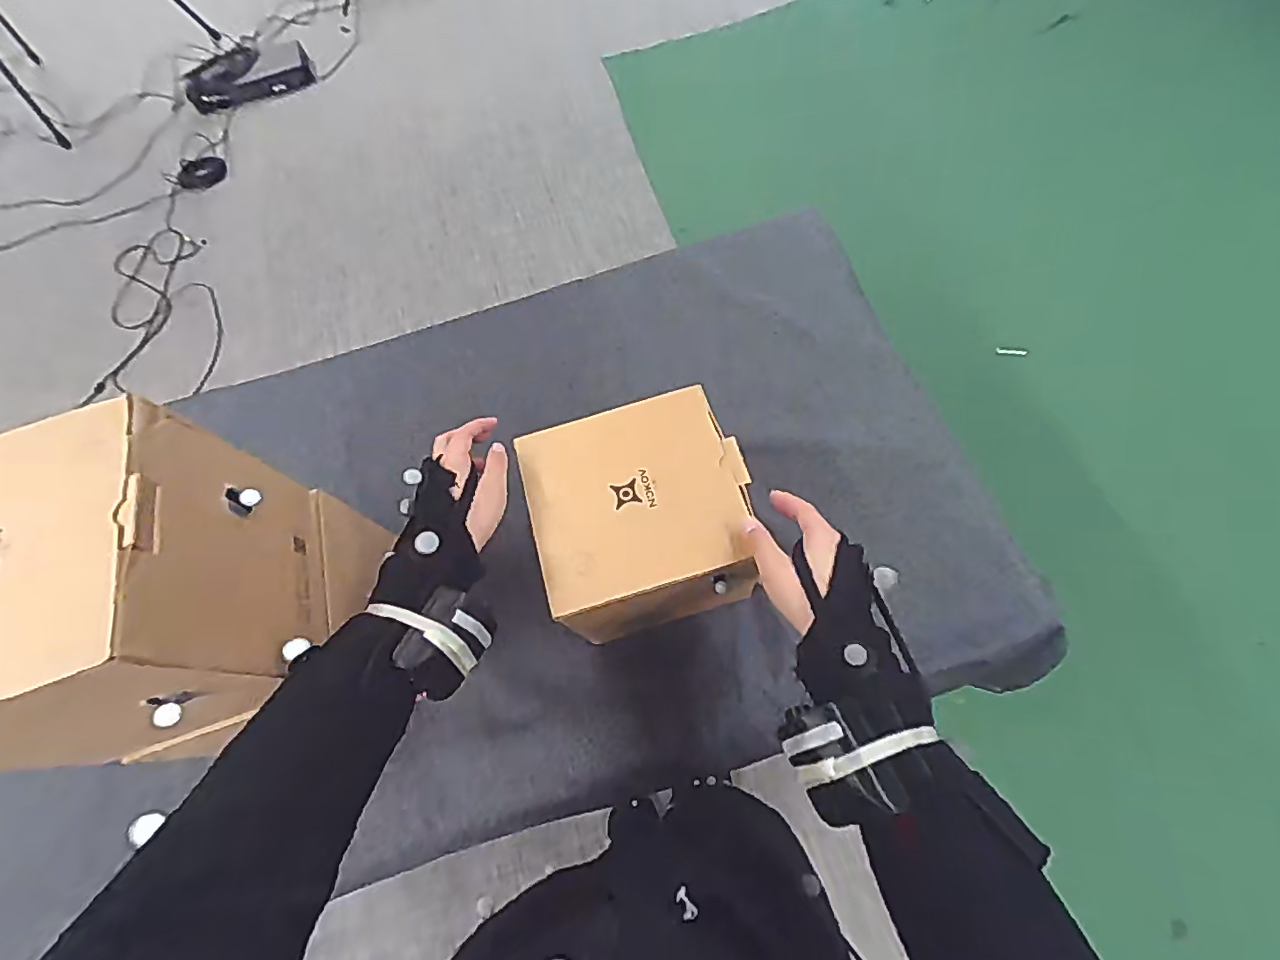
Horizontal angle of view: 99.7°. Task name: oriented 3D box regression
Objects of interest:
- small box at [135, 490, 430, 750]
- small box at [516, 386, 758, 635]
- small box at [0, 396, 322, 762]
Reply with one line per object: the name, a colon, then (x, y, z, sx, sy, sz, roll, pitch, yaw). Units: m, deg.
small box: (-0.323, 0.138, 0.516, 0.168, 0.176, 0.179, -19, 67, -2)
small box: (0.000, 0.041, 0.527, 0.179, 0.176, 0.168, -17, 66, -2)
small box: (-0.344, 0.076, 0.367, 0.179, 0.176, 0.168, -20, 65, -2)
